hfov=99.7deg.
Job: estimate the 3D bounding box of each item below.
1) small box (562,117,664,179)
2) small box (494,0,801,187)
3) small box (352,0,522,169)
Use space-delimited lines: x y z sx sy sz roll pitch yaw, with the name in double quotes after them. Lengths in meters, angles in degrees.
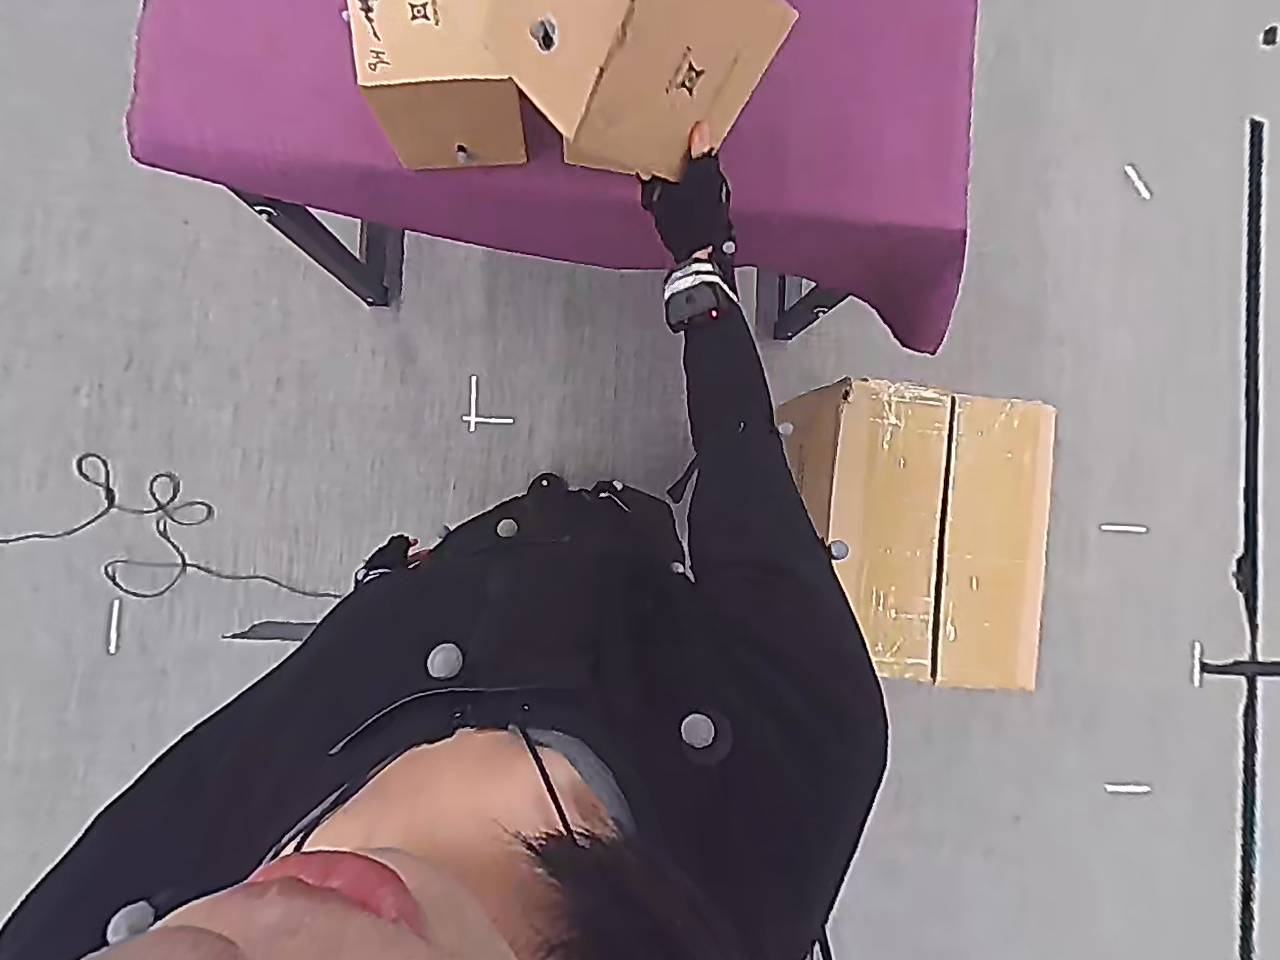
-0.008 -0.540 0.729 0.179 0.176 0.168 7 87 -5 "small box"
0.000 -0.404 0.482 0.179 0.168 0.176 -18 66 -47 "small box"
-0.252 -0.535 0.705 0.179 0.176 0.168 -7 89 -7 "small box"
